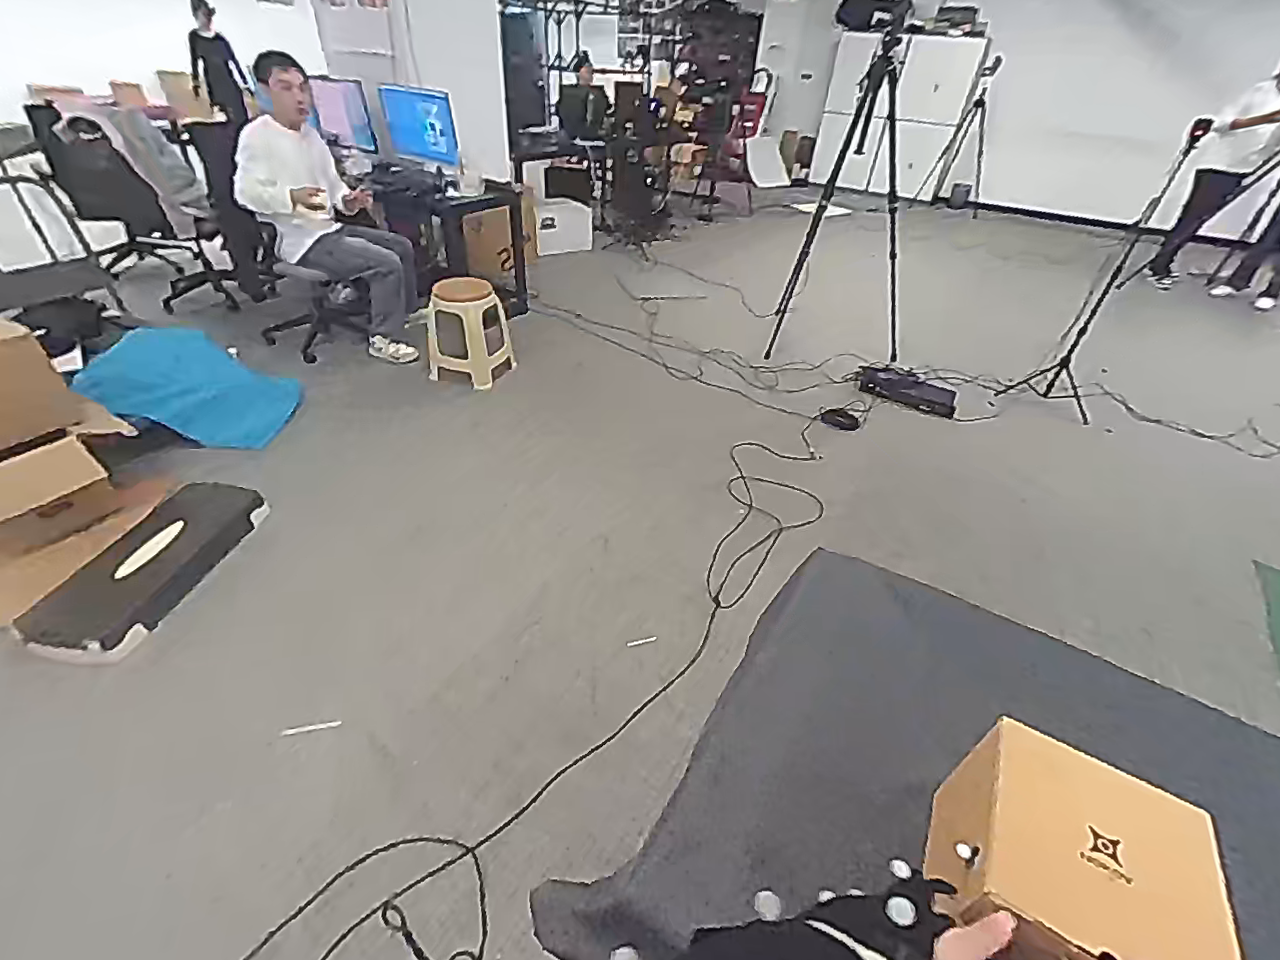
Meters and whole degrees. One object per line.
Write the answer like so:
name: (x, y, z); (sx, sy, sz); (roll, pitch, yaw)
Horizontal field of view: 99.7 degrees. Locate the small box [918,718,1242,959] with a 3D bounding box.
small box: (0.379, 0.369, 0.494); (0.168, 0.176, 0.179); (24, 42, 22)
